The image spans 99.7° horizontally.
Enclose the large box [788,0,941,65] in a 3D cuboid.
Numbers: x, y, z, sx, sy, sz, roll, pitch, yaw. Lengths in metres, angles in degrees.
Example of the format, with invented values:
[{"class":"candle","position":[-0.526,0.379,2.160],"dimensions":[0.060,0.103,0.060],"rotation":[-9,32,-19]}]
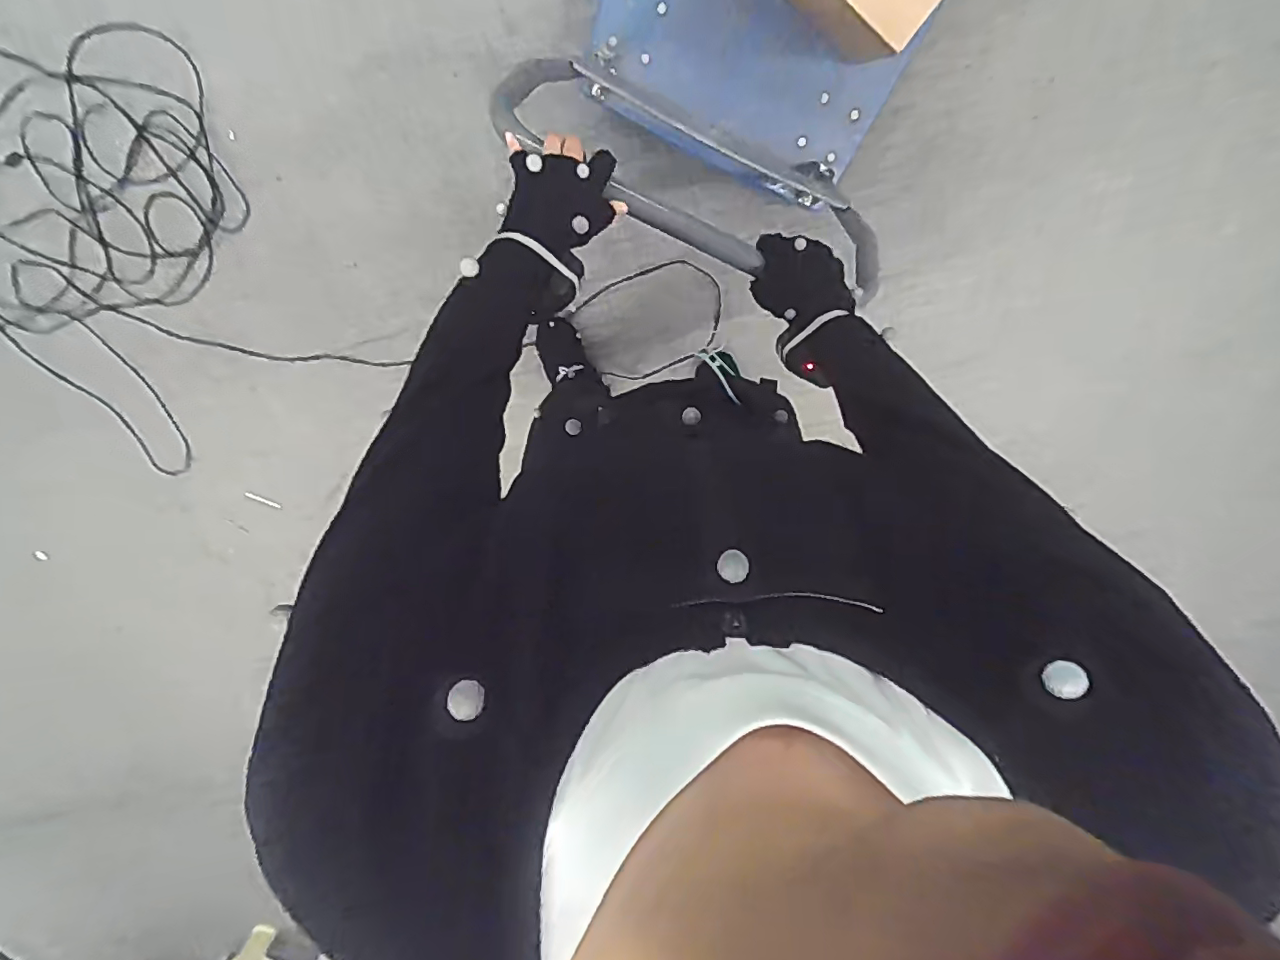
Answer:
[{"class":"large box","position":[0.318,-0.898,0.784],"dimensions":[0.408,0.320,0.320],"rotation":[34,123,-14]}]
